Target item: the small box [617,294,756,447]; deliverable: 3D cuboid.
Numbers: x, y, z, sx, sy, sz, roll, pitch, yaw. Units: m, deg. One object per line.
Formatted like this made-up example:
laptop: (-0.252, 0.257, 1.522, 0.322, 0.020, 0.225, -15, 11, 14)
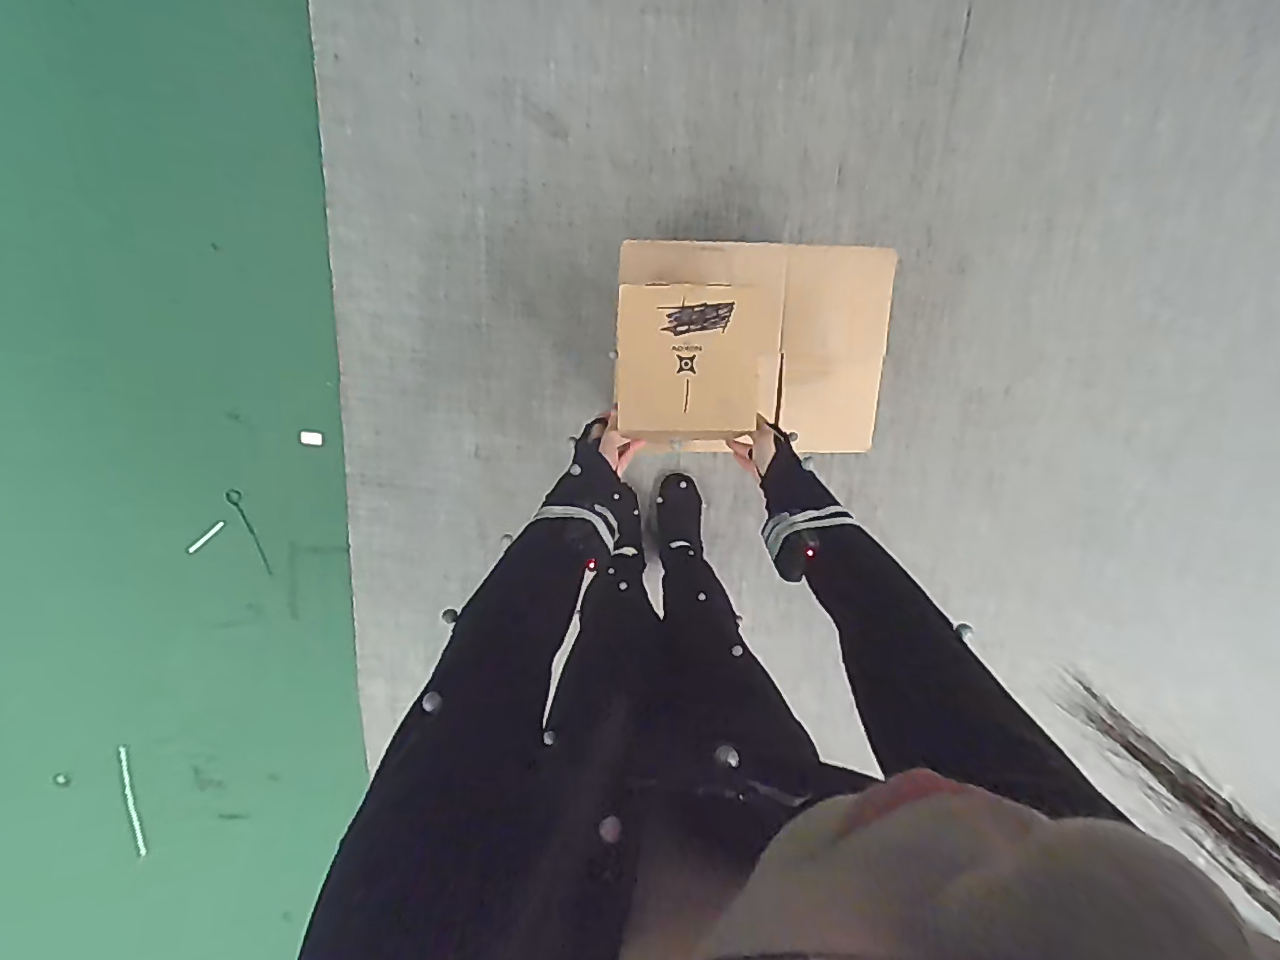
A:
small box: (0.056, -0.137, 0.730, 0.168, 0.176, 0.179, 1, 92, 1)
